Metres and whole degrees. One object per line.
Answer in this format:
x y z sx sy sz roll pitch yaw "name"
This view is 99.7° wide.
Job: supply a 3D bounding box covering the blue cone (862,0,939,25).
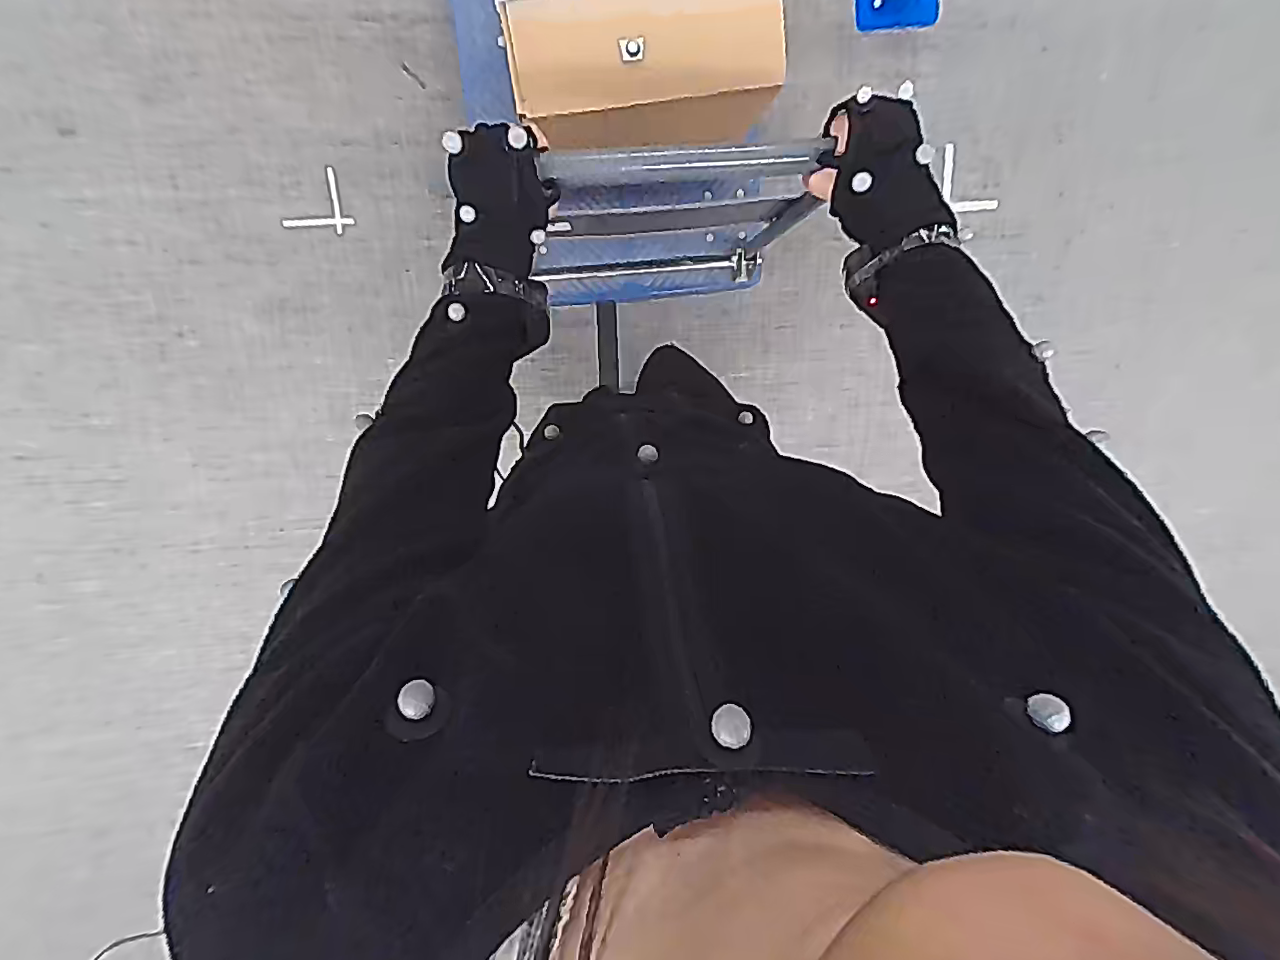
0.607 -1.102 1.061 0.193 0.380 0.192 -7 104 -5 "blue cone"
